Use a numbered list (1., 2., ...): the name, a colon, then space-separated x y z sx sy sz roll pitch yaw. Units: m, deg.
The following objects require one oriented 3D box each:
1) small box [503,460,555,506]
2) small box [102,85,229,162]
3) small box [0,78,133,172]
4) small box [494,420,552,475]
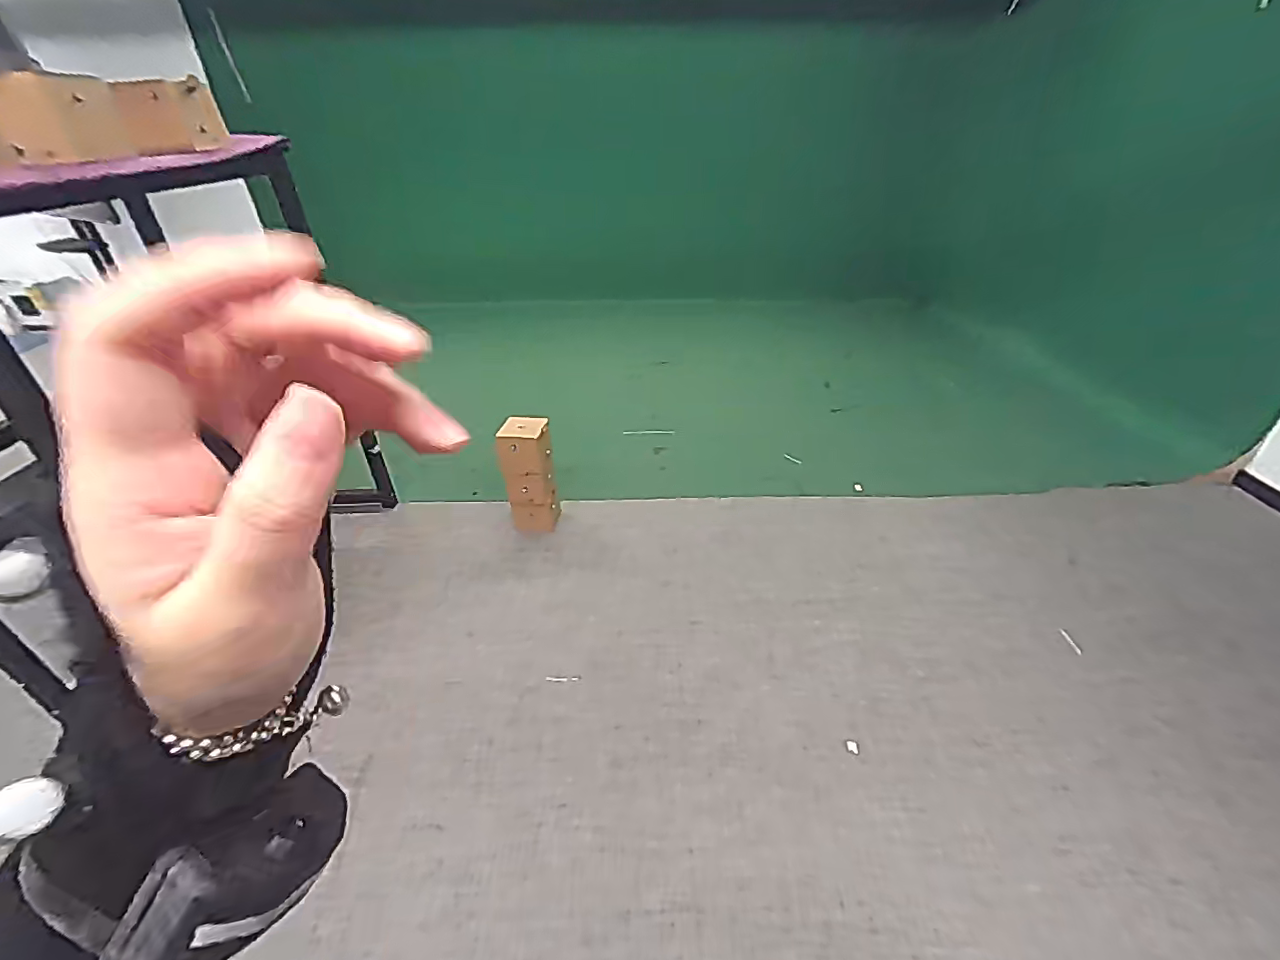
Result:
1. small box: -0.472 -0.003 2.329 0.168 0.176 0.179 2 35 6
2. small box: -1.340 -1.013 1.542 0.179 0.176 0.168 -2 35 4
3. small box: -1.343 -0.811 1.243 0.168 0.176 0.179 -2 33 1
4. small box: -0.476 -0.134 2.225 0.179 0.176 0.168 3 35 8
